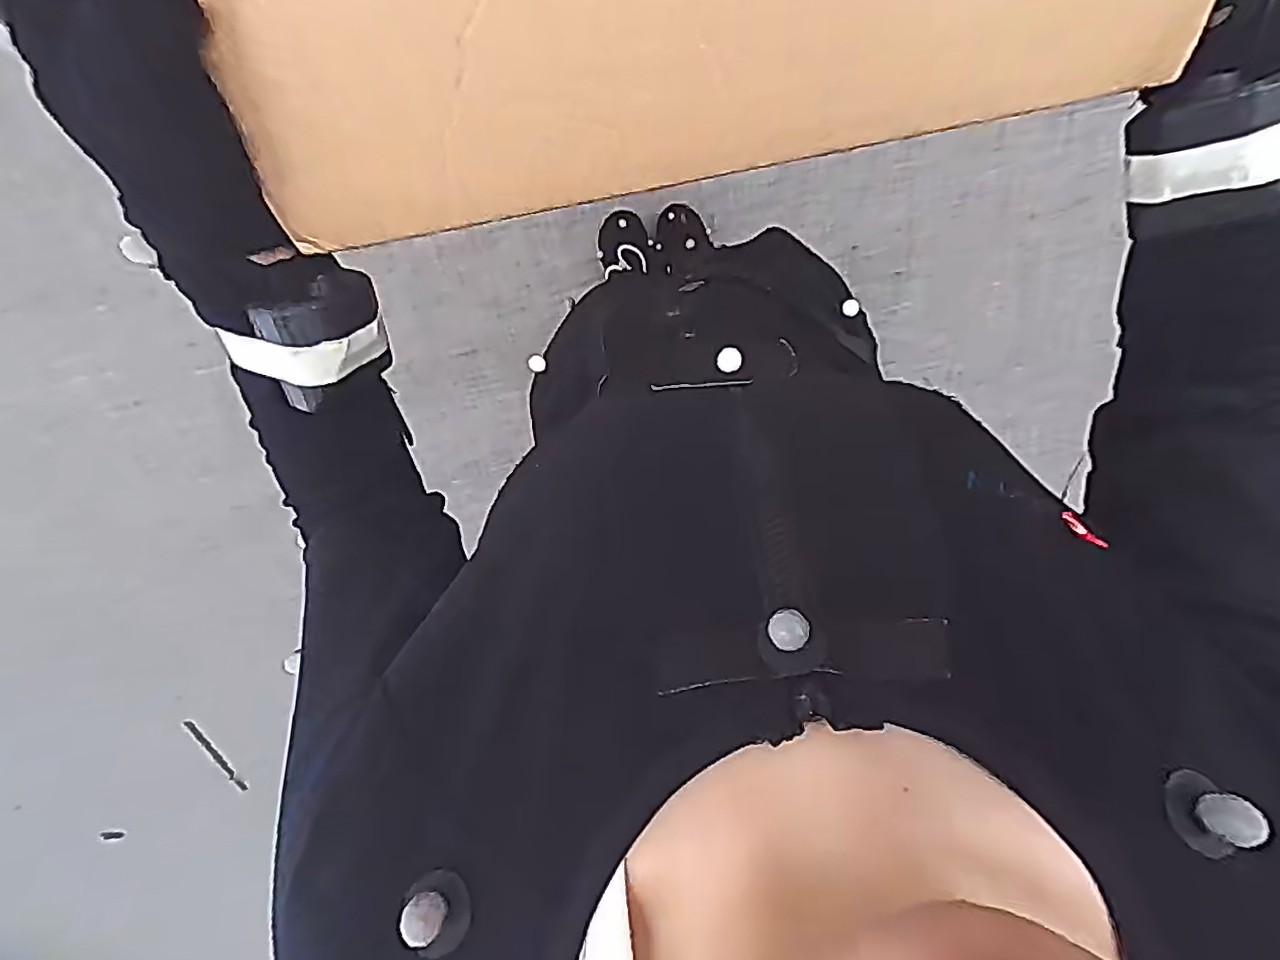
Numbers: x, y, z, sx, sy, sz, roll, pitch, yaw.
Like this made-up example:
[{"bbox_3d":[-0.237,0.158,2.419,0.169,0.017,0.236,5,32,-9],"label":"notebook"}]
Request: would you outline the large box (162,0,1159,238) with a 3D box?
[{"bbox_3d":[-0.005,-0.364,0.253,0.408,0.320,0.320,-9,134,3],"label":"large box"}]
